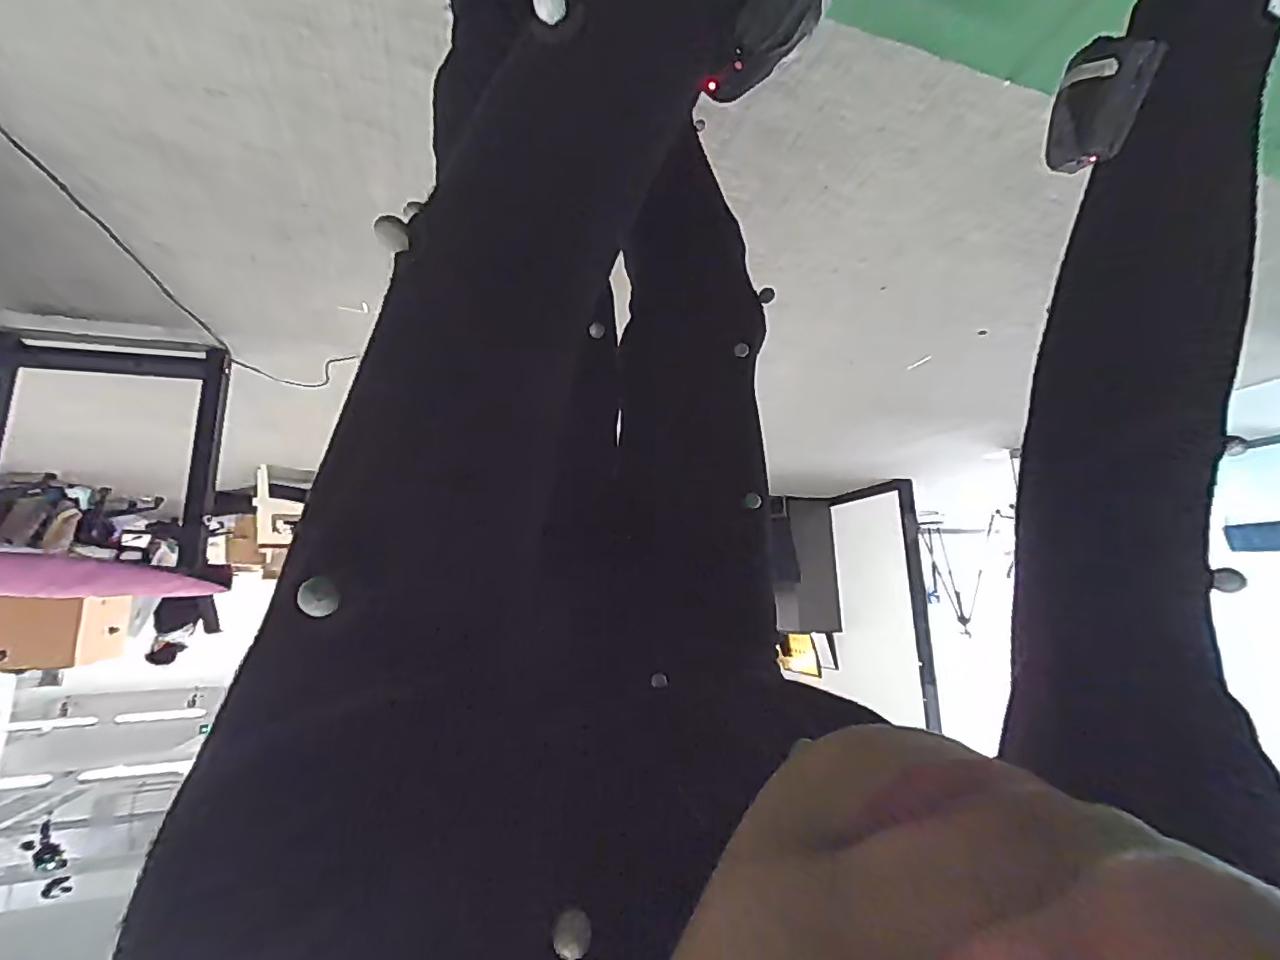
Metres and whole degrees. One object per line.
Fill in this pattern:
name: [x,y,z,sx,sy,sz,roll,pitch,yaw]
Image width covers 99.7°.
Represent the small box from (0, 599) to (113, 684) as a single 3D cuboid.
small box: [-1.350,0.360,1.226,0.179,0.176,0.168,2,167,-15]
